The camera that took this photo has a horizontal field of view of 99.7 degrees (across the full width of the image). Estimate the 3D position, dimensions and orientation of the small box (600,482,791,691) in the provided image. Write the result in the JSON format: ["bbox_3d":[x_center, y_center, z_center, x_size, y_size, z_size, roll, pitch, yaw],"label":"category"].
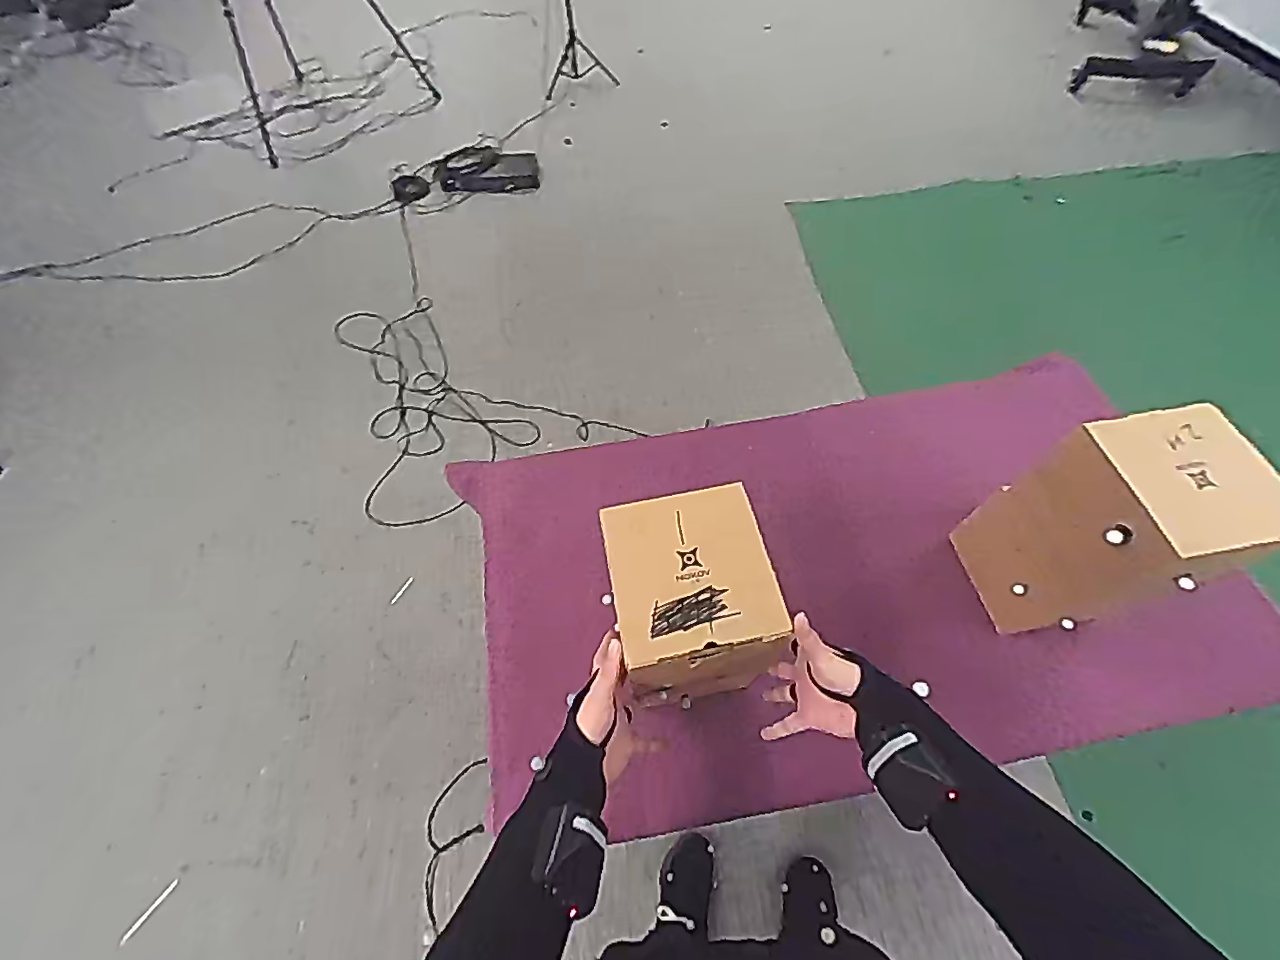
[{"bbox_3d":[0.054,0.129,0.614,0.168,0.176,0.179,-10,58,-4],"label":"small box"}]

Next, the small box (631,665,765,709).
[{"bbox_3d":[0.059,0.206,0.759,0.168,0.176,0.179,-9,60,-4],"label":"small box"}]

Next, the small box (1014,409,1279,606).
[{"bbox_3d":[0.610,0.042,0.652,0.168,0.176,0.179,-8,59,-4],"label":"small box"}]
